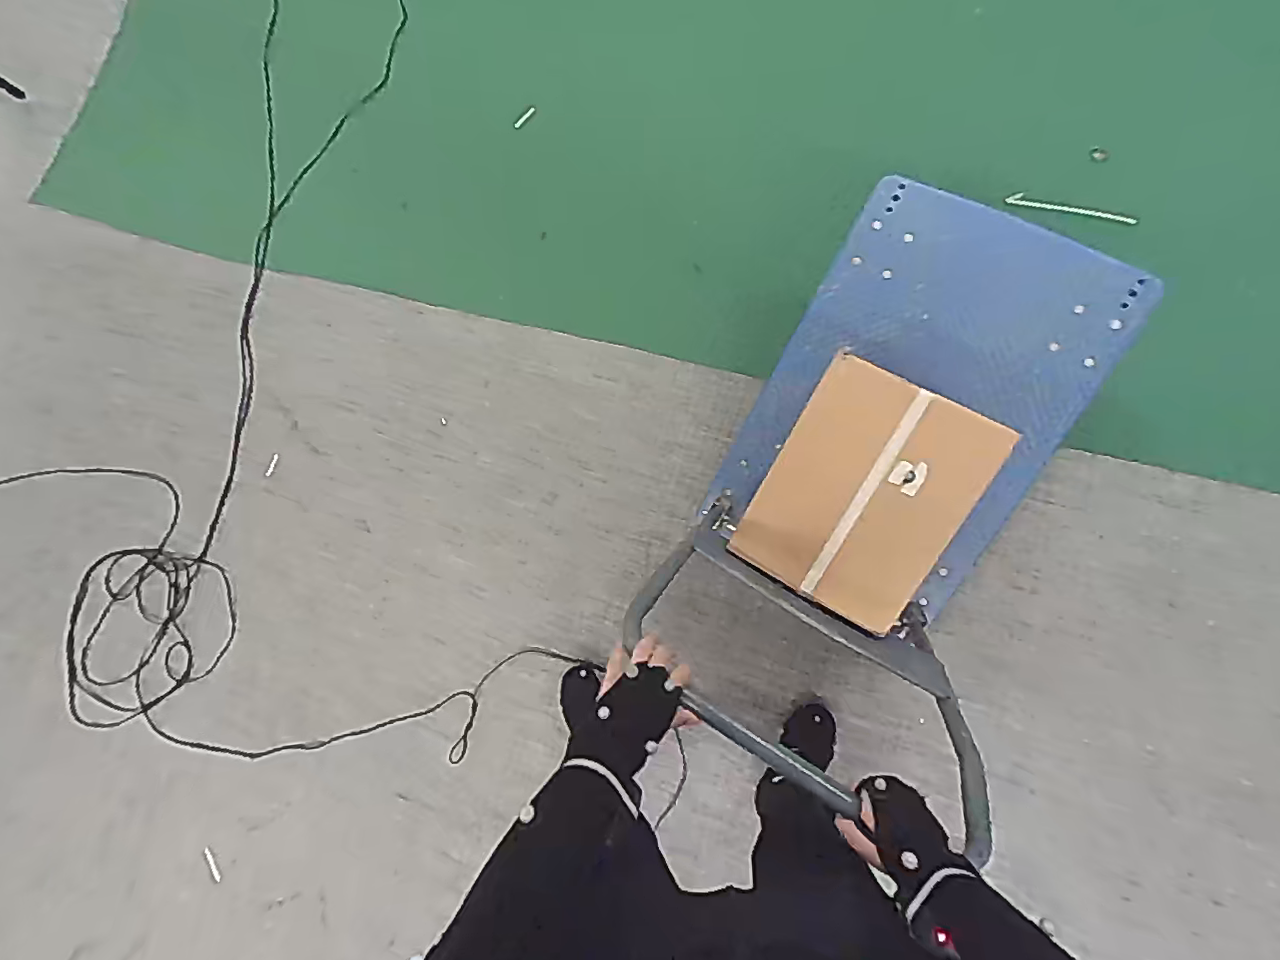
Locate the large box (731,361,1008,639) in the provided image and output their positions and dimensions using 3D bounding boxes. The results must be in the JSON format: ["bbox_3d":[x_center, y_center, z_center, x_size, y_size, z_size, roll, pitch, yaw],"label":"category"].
[{"bbox_3d":[0.425,0.029,1.084,0.320,0.320,0.408,30,101,12],"label":"large box"}]
